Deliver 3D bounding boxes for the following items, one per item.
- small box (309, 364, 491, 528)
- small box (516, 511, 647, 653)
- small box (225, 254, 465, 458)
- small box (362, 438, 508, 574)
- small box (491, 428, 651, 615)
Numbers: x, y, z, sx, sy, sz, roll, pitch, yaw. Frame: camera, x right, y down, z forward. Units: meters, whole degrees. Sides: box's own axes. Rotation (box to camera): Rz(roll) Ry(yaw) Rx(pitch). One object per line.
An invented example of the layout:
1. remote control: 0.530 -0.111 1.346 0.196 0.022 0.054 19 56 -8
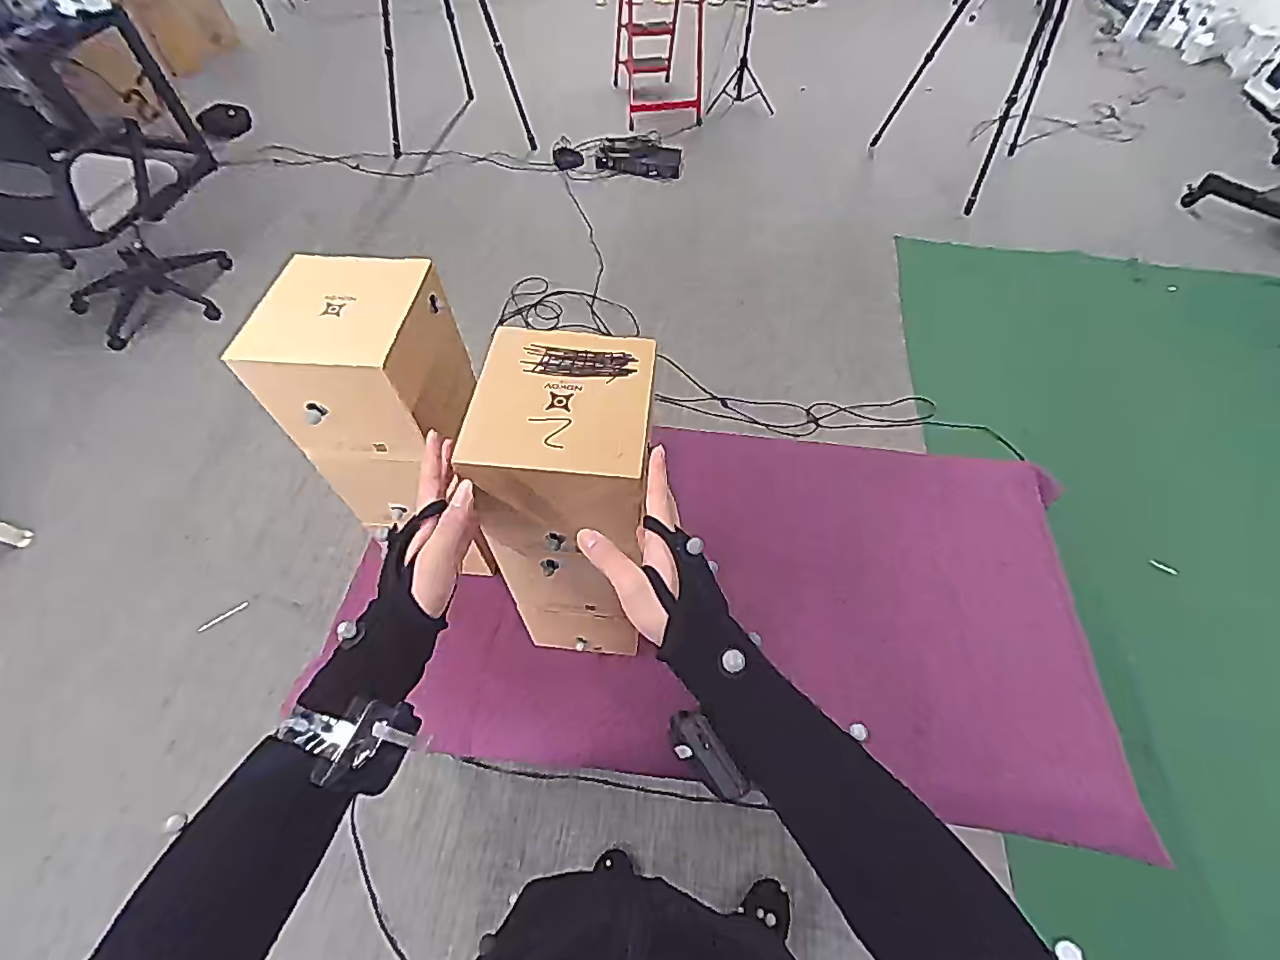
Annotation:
1. small box: -0.325 -0.052 0.779 0.168 0.176 0.179 4 57 3
2. small box: -0.081 0.151 0.843 0.168 0.176 0.179 5 57 3
3. small box: -0.325 -0.142 0.644 0.168 0.176 0.179 3 56 3
4. small box: -0.329 0.040 0.914 0.168 0.176 0.179 4 57 2
5. small box: -0.078 0.057 0.709 0.168 0.176 0.179 5 55 3
